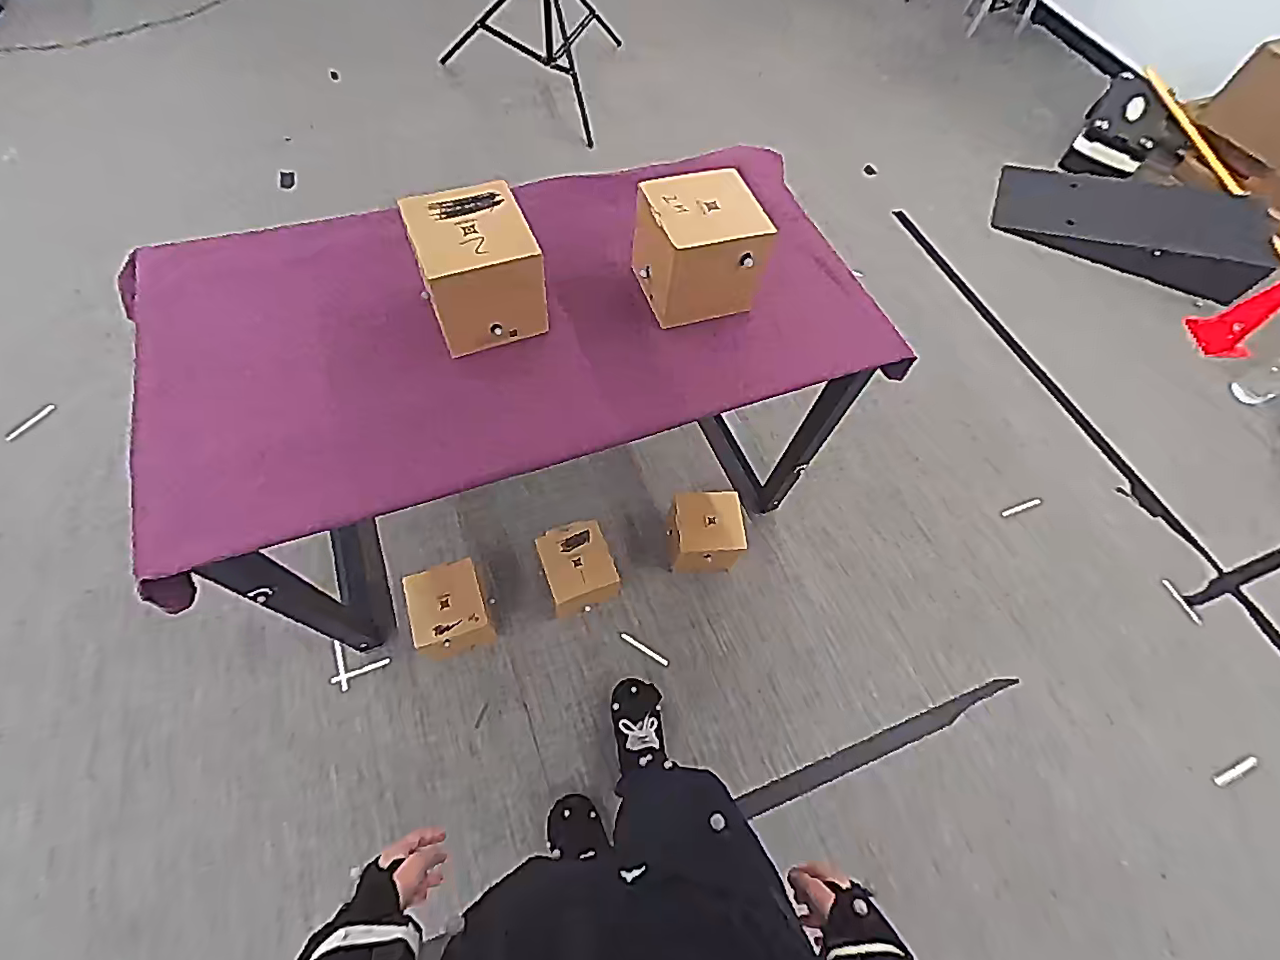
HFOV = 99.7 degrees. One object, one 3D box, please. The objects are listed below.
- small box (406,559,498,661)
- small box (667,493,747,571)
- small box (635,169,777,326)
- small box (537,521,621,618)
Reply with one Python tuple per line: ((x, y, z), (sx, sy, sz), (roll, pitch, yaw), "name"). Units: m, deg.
((-0.456, 0.320, 1.325), (0.168, 0.176, 0.179), (-16, 64, -13), "small box")
((0.177, 0.144, 1.475), (0.179, 0.176, 0.168), (-2, 63, -5), "small box")
((0.100, -0.390, 0.920), (0.179, 0.176, 0.168), (-16, 64, -12), "small box")
((-0.159, 0.234, 1.396), (0.168, 0.176, 0.179), (-18, 67, -14), "small box")
